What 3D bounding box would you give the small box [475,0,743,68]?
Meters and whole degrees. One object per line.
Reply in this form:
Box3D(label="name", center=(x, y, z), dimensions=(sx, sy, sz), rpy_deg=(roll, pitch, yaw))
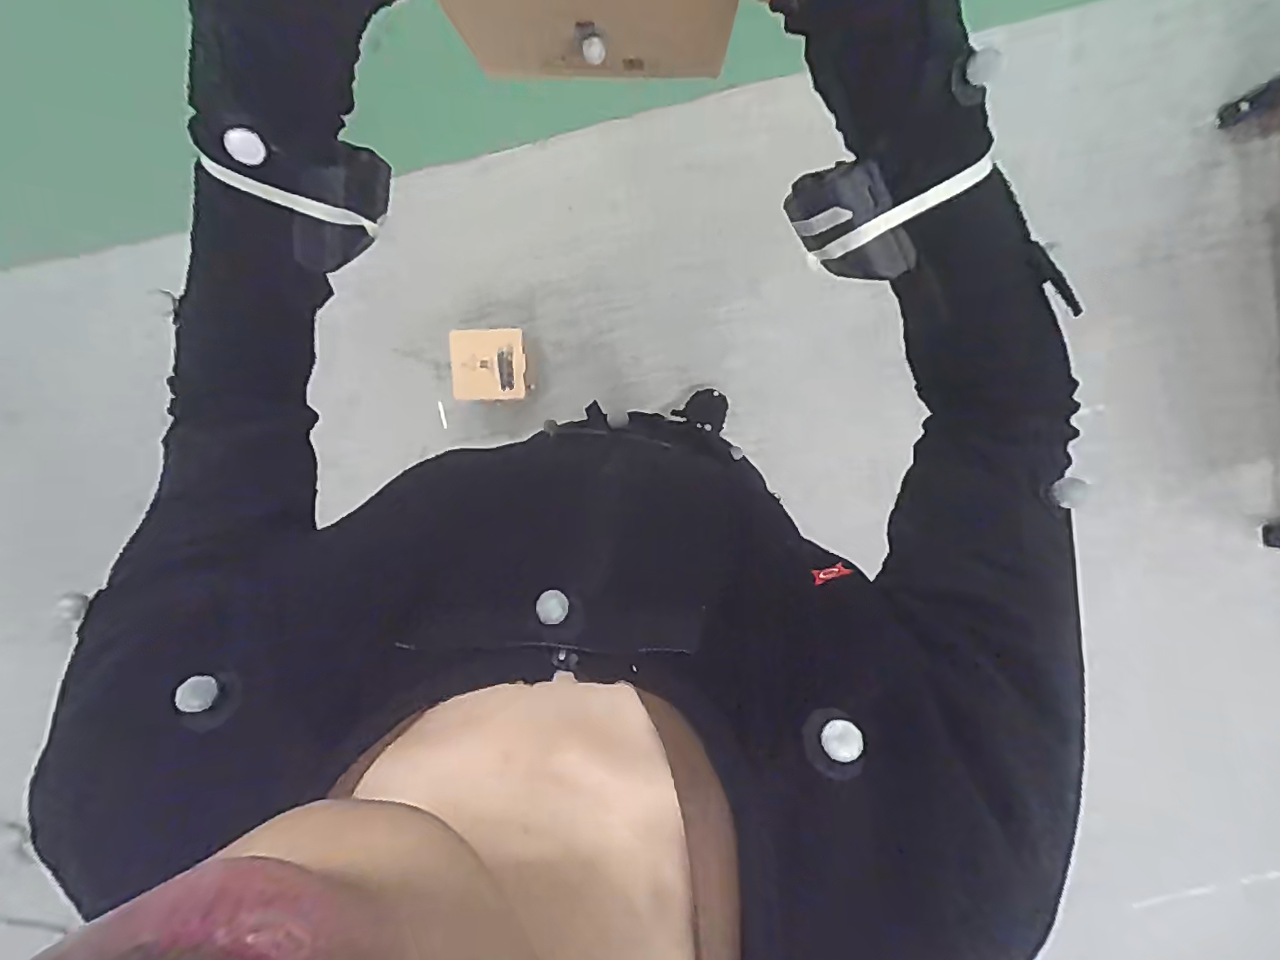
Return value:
Box3D(label="small box", center=(-0.019, -0.350, 0.267), dimensions=(0.168, 0.176, 0.179), rpy_deg=(3, 103, 2))
